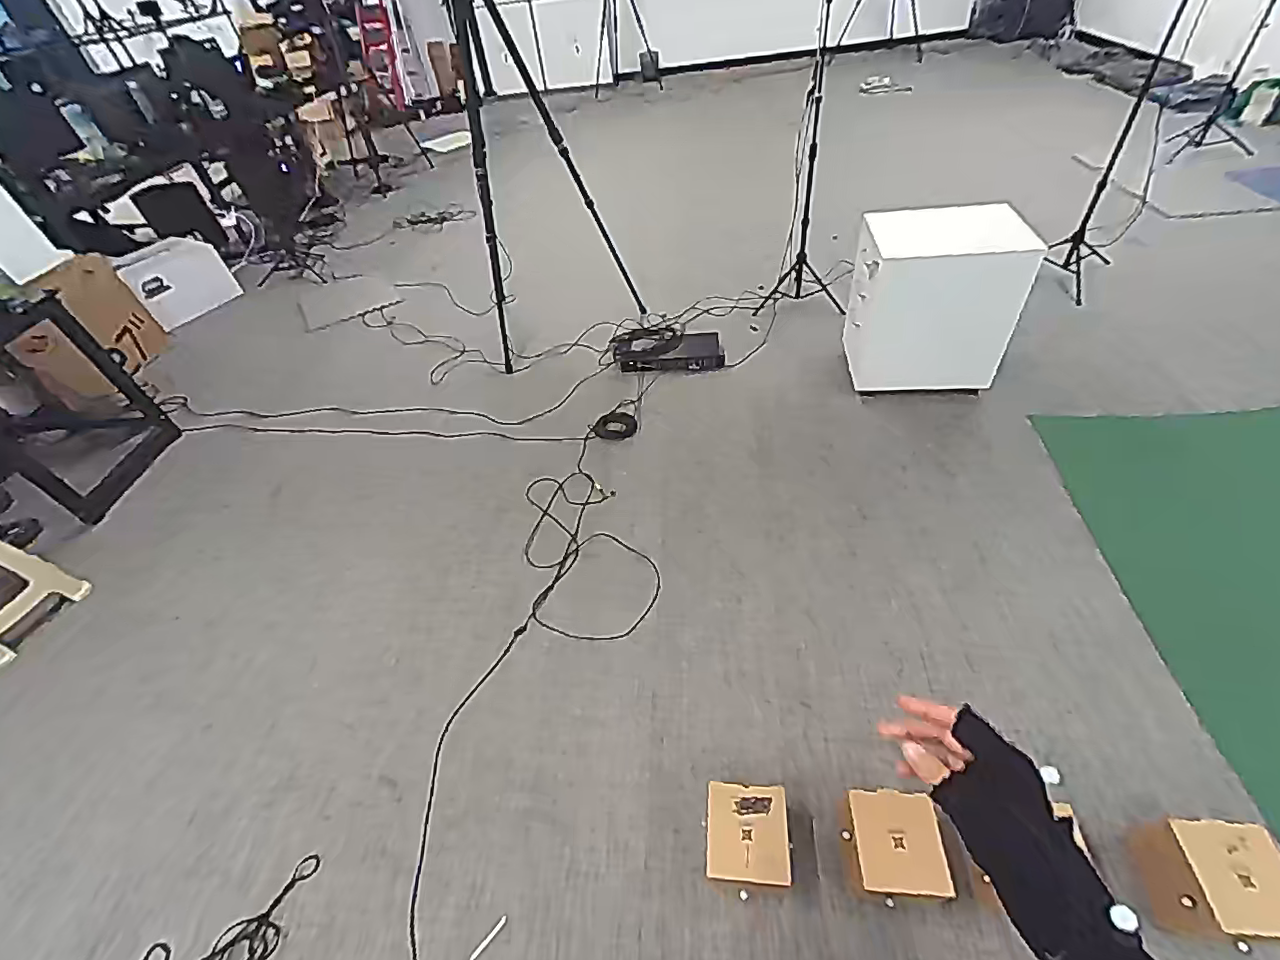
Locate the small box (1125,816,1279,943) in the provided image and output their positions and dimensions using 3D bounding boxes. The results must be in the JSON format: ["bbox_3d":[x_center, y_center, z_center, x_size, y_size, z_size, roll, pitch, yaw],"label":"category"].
[{"bbox_3d":[1.105,0.771,1.041,0.168,0.176,0.179,0,47,7],"label":"small box"}]

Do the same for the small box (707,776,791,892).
[{"bbox_3d":[0.231,0.768,1.173,0.168,0.176,0.179,0,48,9],"label":"small box"}]

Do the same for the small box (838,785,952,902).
[{"bbox_3d":[0.522,0.764,1.134,0.168,0.176,0.179,-1,46,8],"label":"small box"}]
